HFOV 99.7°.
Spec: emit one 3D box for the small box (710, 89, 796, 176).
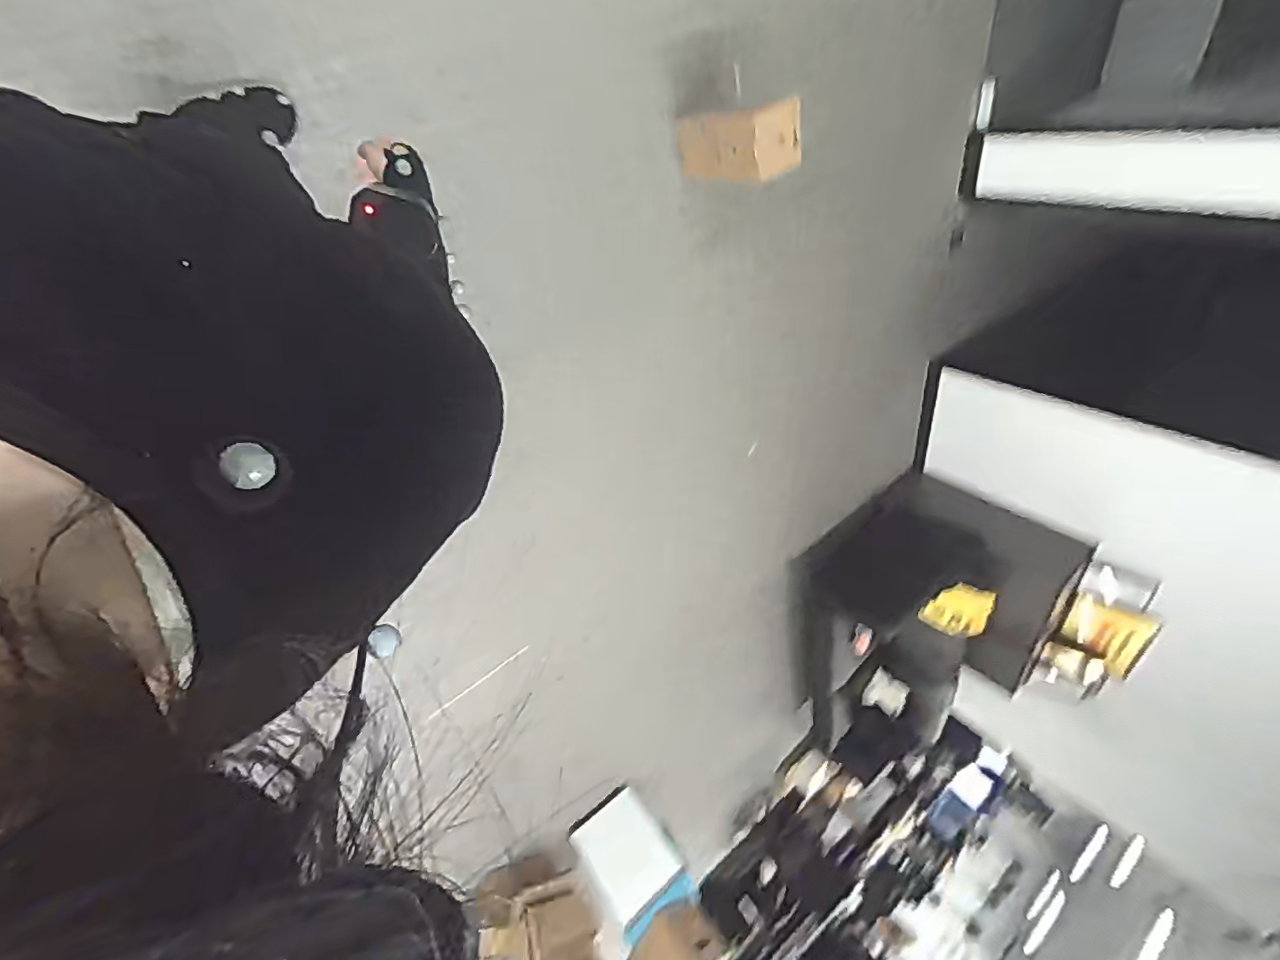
[{"bbox_3d":[0.309,-0.960,1.498,0.179,0.176,0.168,-34,134,-20],"label":"small box"}]
